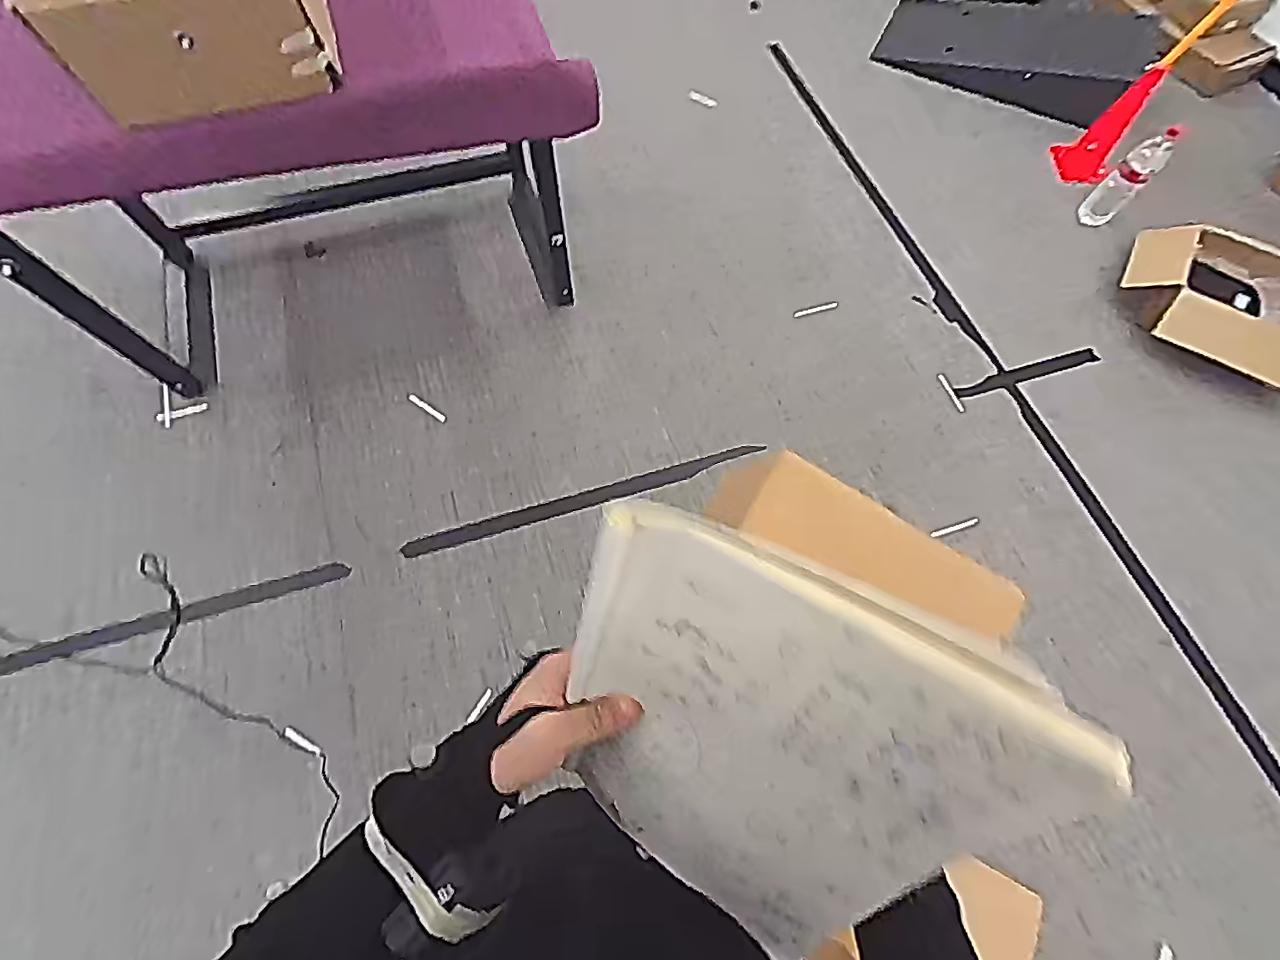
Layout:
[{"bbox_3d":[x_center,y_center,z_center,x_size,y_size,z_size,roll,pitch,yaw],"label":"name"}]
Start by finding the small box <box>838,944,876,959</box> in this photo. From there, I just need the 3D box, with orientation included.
[{"bbox_3d":[0.411,0.931,0.893,0.168,0.176,0.179,26,72,9],"label":"small box"}]

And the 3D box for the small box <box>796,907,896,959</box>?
[{"bbox_3d":[0.408,0.990,1.047,0.168,0.176,0.179,25,72,9],"label":"small box"}]
